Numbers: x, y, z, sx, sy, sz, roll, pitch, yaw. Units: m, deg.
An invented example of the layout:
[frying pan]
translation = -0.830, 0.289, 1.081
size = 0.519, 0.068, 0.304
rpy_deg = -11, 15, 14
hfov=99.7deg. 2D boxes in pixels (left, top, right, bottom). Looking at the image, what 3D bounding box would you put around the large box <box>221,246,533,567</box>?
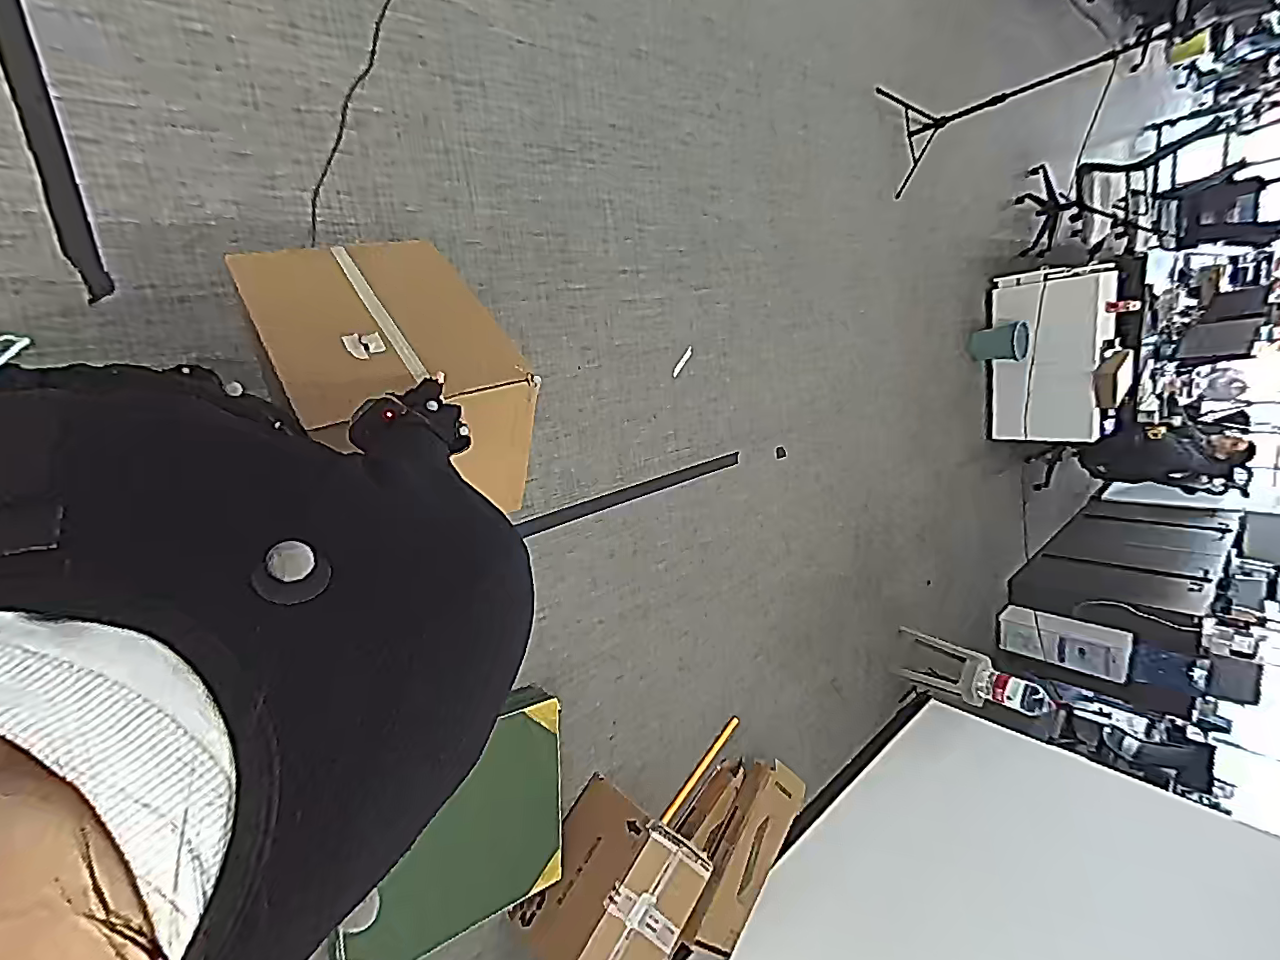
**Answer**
[large box]
translation = -0.426, -0.136, 0.906
size = 0.320, 0.408, 0.320
rpy_deg = -22, 150, -32
